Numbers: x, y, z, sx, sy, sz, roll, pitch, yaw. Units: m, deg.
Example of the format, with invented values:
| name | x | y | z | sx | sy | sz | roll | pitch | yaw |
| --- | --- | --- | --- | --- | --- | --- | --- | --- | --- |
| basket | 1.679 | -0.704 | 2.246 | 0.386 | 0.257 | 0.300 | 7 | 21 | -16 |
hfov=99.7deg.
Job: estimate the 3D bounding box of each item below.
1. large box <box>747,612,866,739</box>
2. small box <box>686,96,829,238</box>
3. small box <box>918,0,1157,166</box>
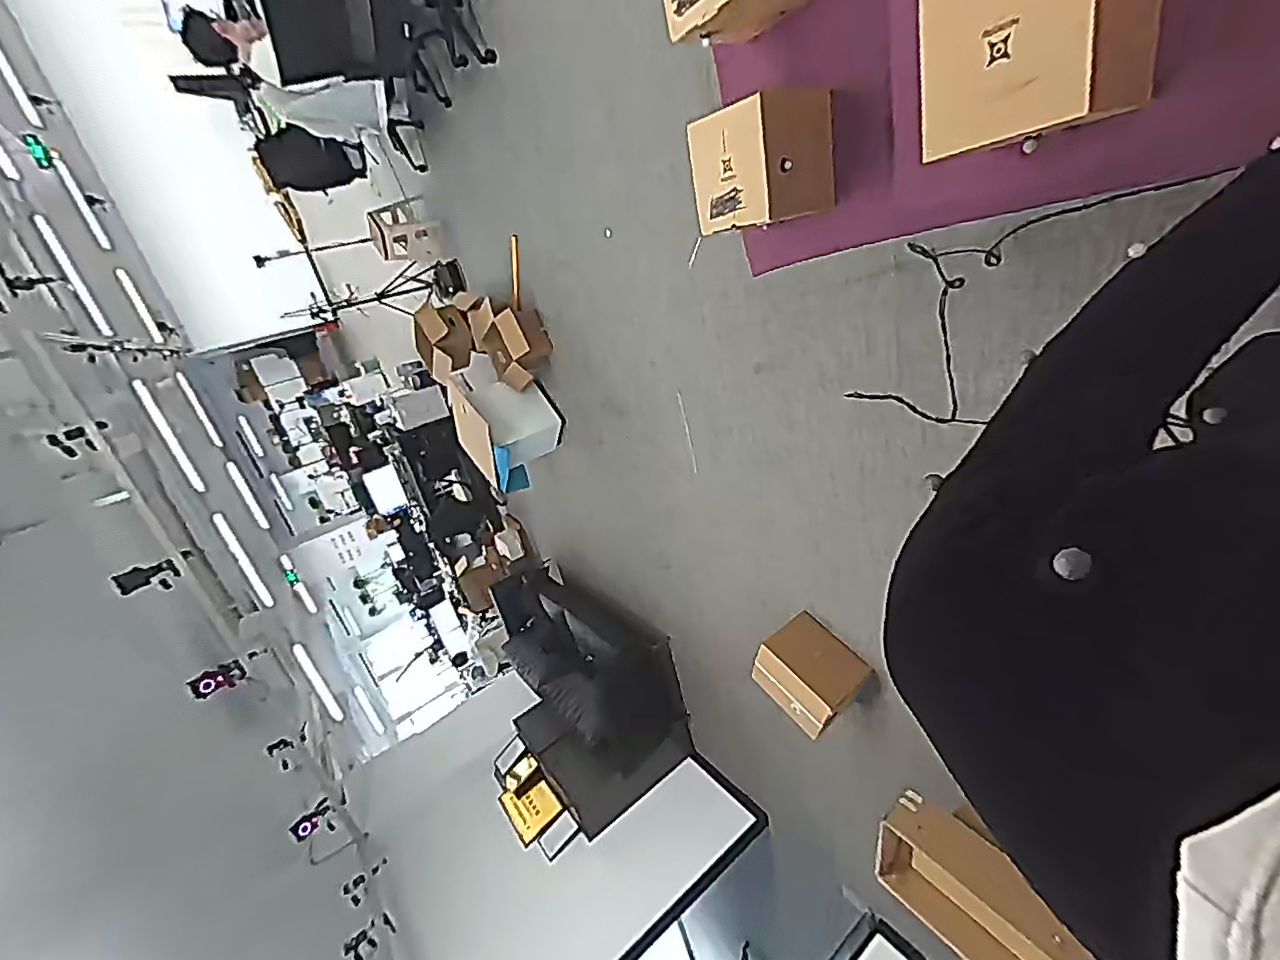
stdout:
| name | x | y | z | sx | sy | sz | roll | pitch | yaw |
| --- | --- | --- | --- | --- | --- | --- | --- | --- | --- |
| large box | 0.778 | 0.917 | 2.570 | 0.408 | 0.320 | 0.320 | 40 | 144 | 35 |
| small box | 0.205 | -0.528 | 0.921 | 0.168 | 0.176 | 0.179 | 21 | 128 | 51 |
| small box | 0.433 | -0.470 | 0.598 | 0.168 | 0.176 | 0.179 | 19 | 128 | 53 |
